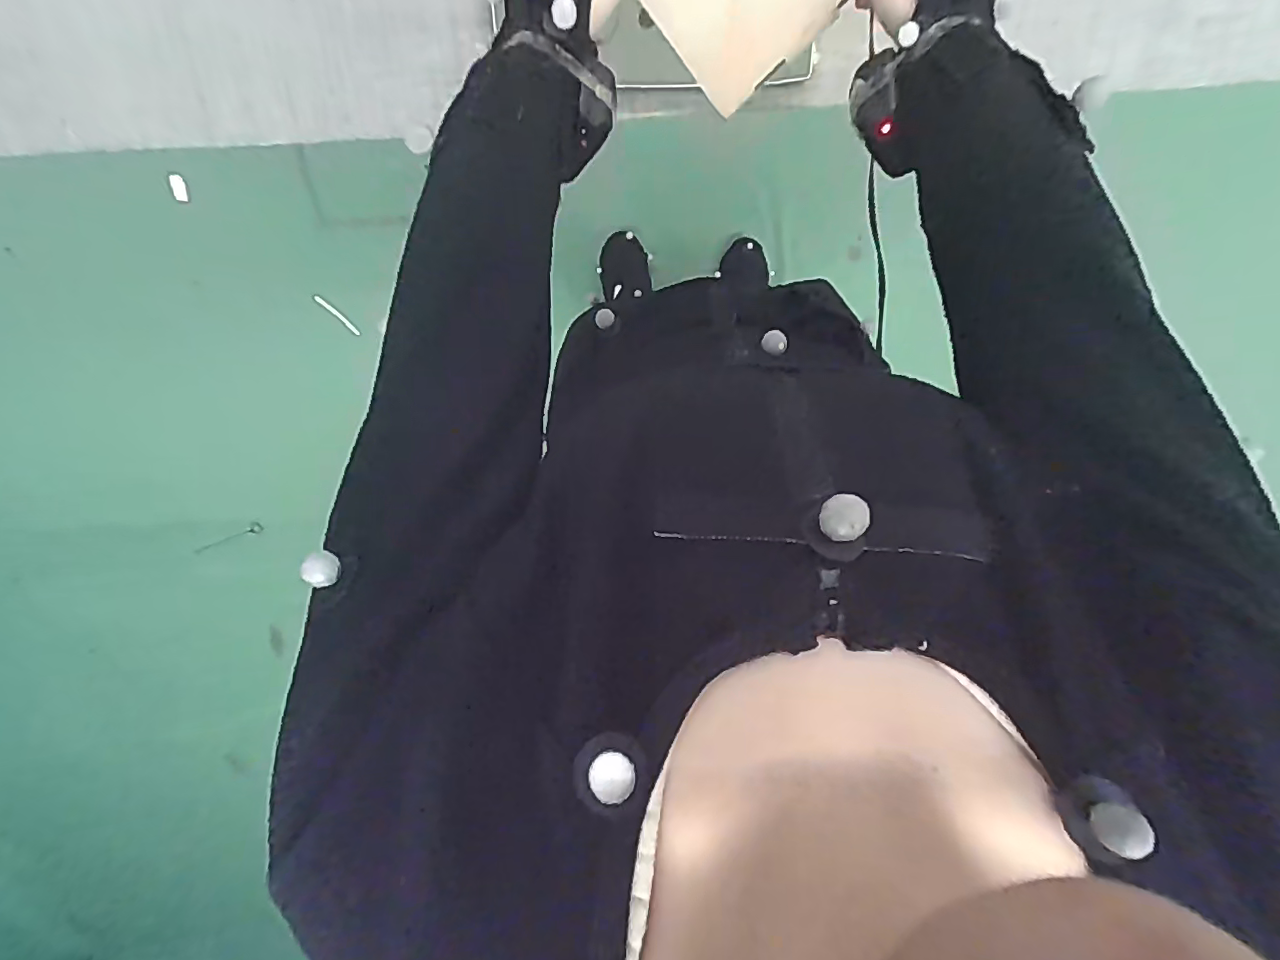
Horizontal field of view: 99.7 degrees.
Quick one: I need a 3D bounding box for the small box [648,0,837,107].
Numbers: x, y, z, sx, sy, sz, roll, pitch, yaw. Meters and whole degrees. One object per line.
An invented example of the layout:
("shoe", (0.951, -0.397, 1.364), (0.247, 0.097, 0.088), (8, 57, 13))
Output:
("small box", (0.072, -0.447, 0.420), (0.168, 0.176, 0.179), (-33, 126, 29))
